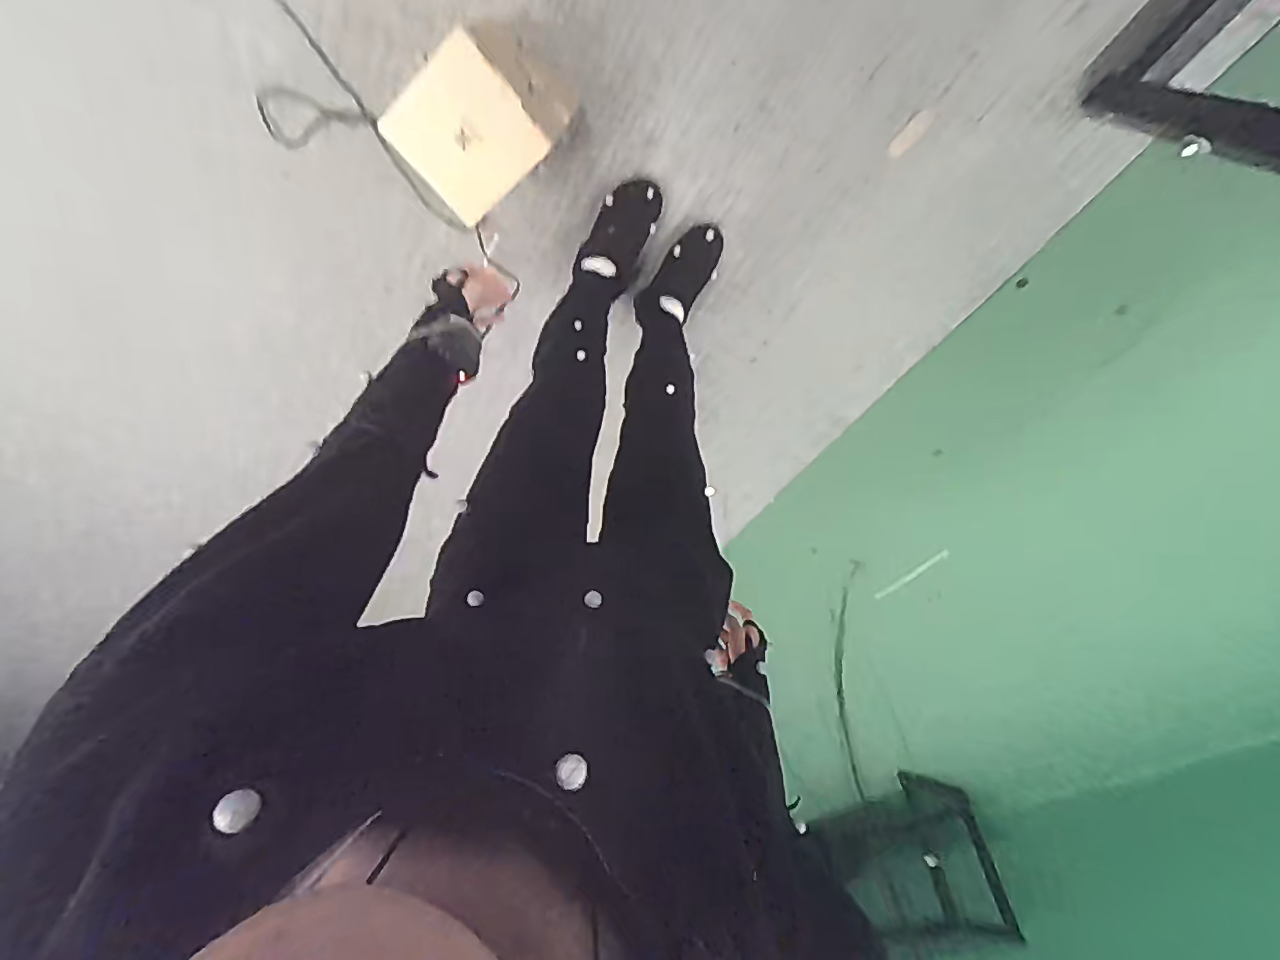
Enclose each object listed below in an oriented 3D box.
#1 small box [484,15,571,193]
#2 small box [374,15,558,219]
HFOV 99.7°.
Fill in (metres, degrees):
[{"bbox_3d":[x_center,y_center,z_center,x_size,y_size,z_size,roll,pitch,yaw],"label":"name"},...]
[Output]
[{"bbox_3d":[-0.231,-0.634,0.908,0.179,0.176,0.168,-34,124,29],"label":"small box"},{"bbox_3d":[-0.239,-0.526,0.788,0.179,0.176,0.168,-30,125,25],"label":"small box"}]
